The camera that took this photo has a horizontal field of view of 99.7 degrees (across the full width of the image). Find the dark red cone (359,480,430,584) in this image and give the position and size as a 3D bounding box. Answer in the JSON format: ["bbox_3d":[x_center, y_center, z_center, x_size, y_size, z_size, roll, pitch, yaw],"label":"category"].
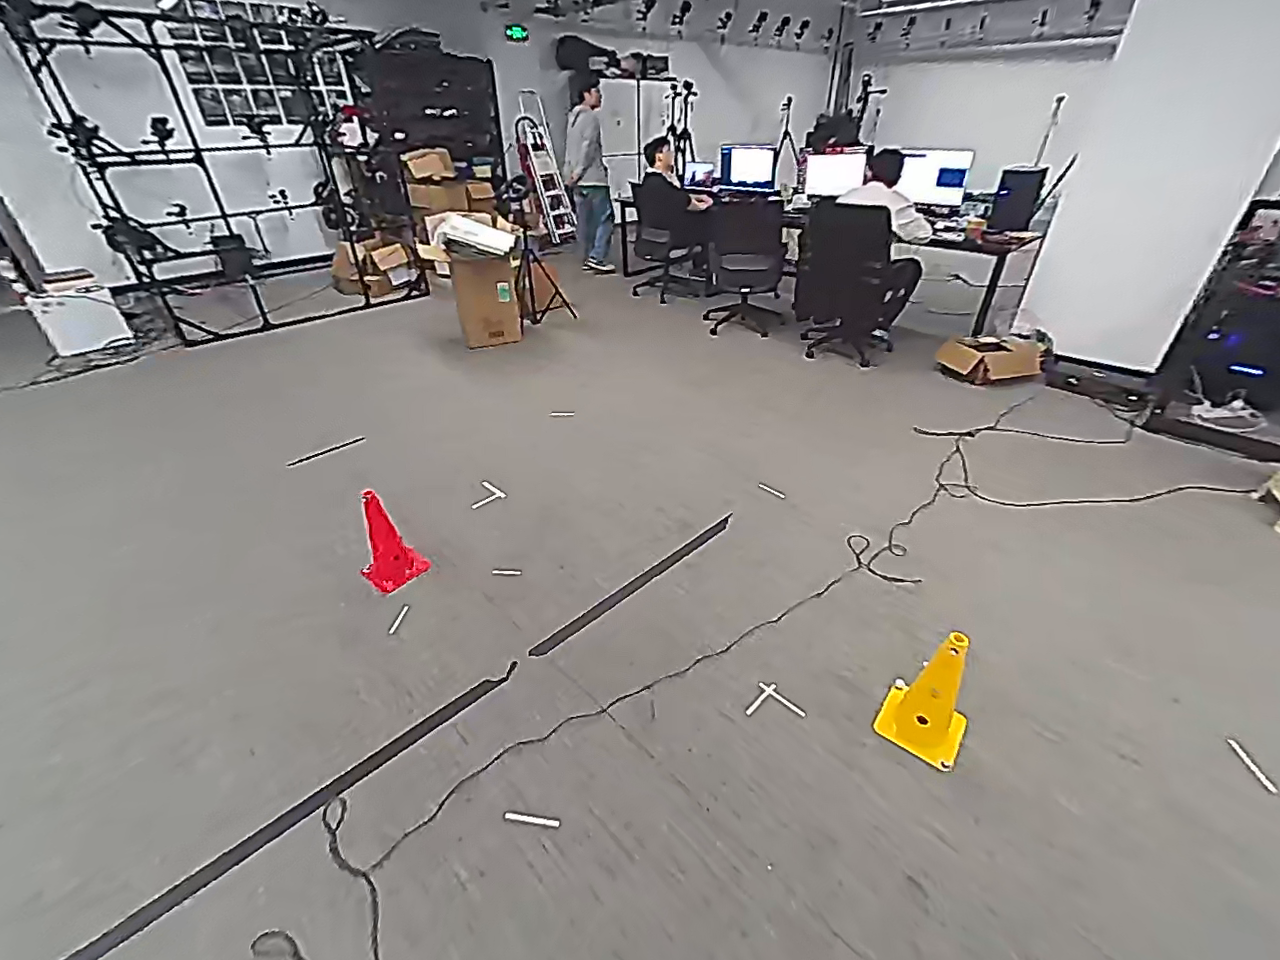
[{"bbox_3d":[-0.933,0.172,1.963,0.201,0.394,0.202,24,41,31],"label":"dark red cone"}]
